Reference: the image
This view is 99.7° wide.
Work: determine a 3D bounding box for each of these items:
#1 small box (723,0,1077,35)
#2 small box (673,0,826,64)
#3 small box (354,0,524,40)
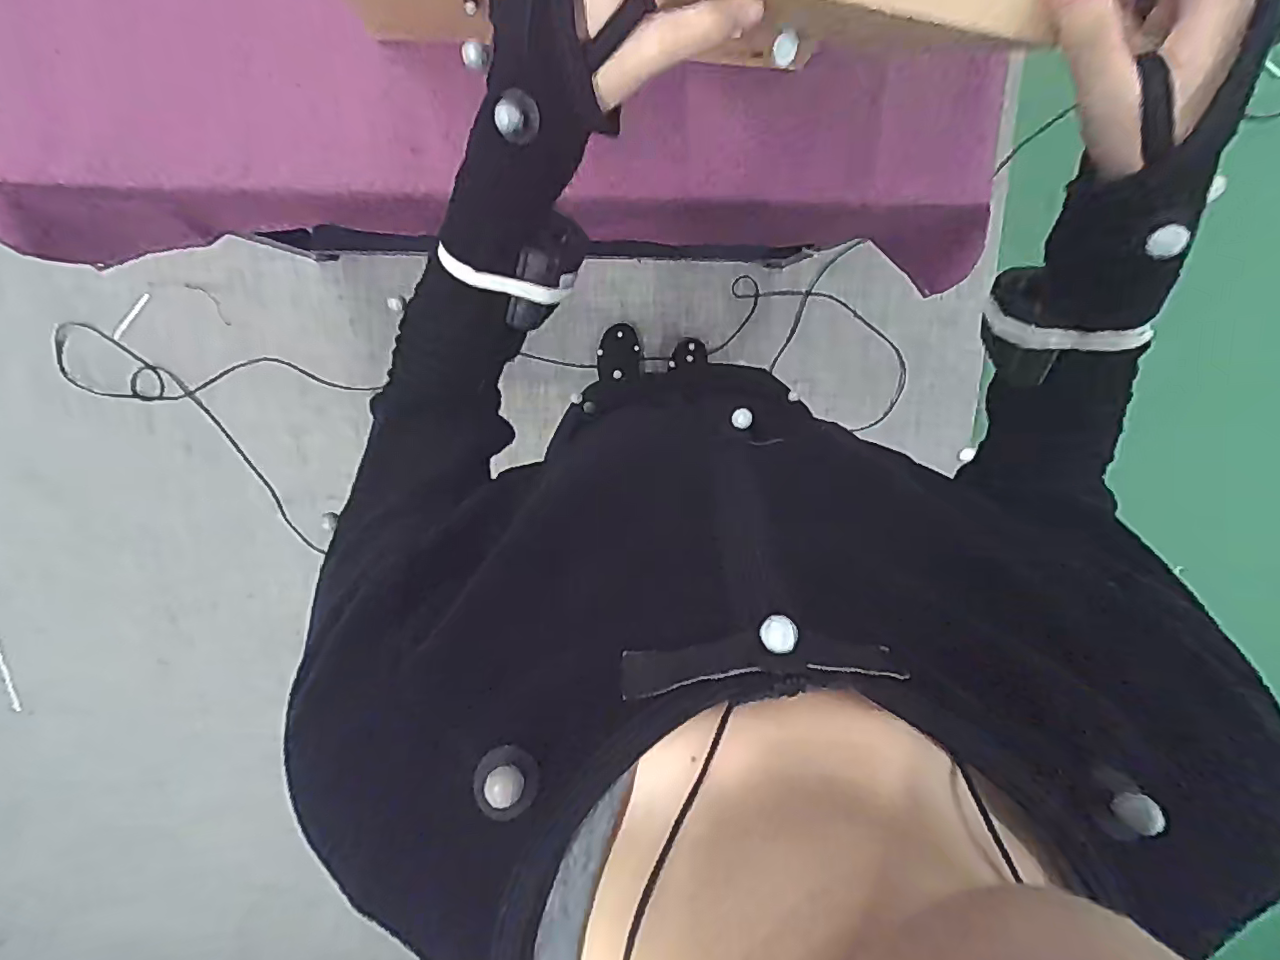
[{"bbox_3d":[0.112,-0.323,0.234,0.168,0.176,0.179,4,126,-8],"label":"small box"},{"bbox_3d":[0.127,-0.567,0.553,0.168,0.176,0.179,1,103,-5],"label":"small box"},{"bbox_3d":[-0.207,-0.565,0.521,0.179,0.176,0.168,-1,103,-5],"label":"small box"}]
